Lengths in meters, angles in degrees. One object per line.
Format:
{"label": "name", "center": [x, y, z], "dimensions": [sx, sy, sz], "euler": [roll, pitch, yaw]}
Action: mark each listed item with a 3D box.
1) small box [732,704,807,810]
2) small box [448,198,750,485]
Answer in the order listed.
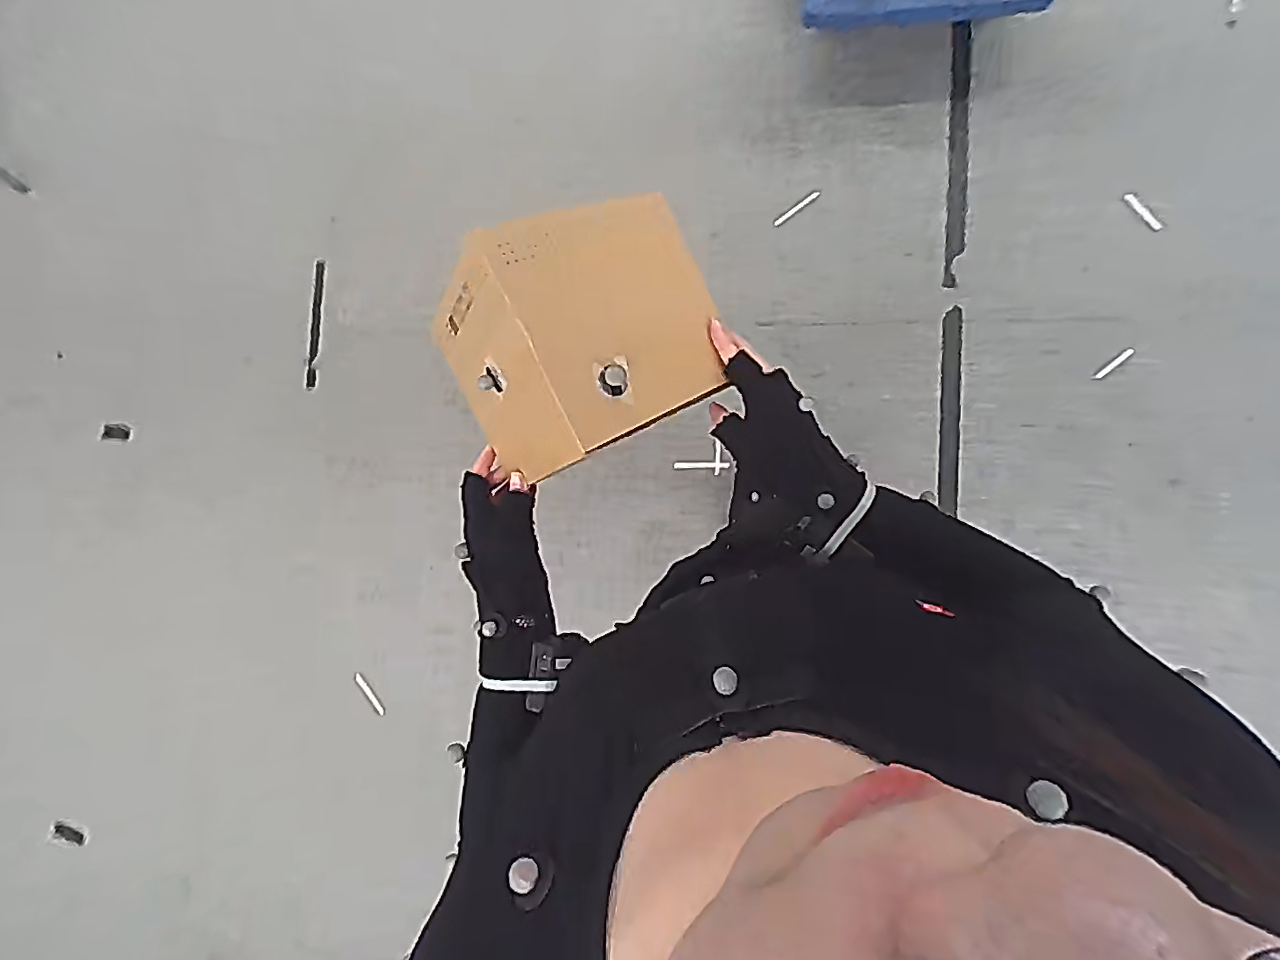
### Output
{"label": "small box", "center": [0.326, 0.700, 1.383], "dimensions": [0.168, 0.176, 0.179], "euler": [3, 88, 7]}
{"label": "small box", "center": [-0.044, -0.116, 0.475], "dimensions": [0.179, 0.168, 0.176], "euler": [-29, 96, -31]}
